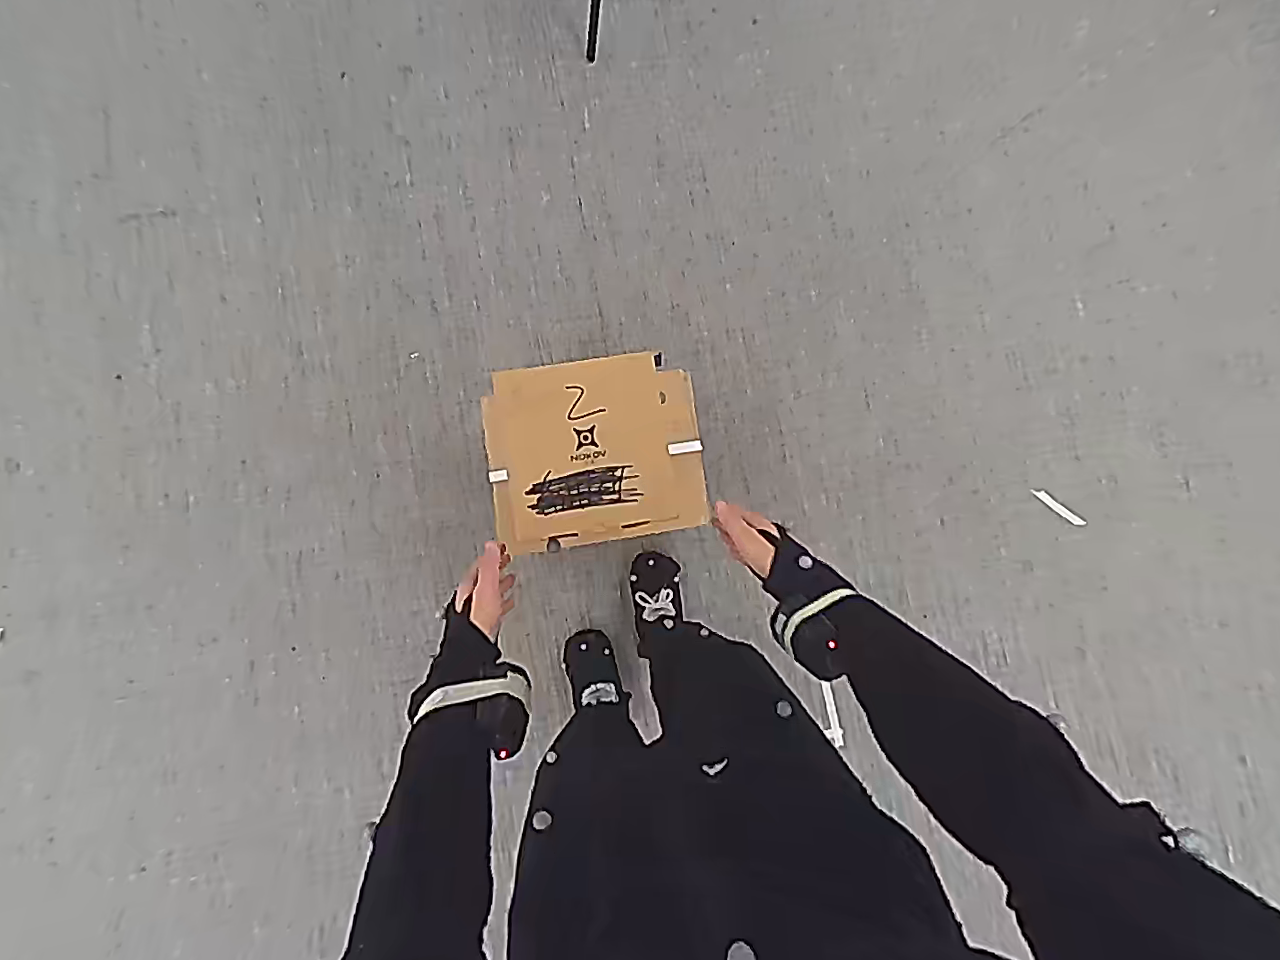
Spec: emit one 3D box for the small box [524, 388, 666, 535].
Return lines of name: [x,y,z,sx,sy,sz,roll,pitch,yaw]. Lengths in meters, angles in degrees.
small box: [-0.065,-0.022,0.788,0.168,0.176,0.179,-10,89,-4]
